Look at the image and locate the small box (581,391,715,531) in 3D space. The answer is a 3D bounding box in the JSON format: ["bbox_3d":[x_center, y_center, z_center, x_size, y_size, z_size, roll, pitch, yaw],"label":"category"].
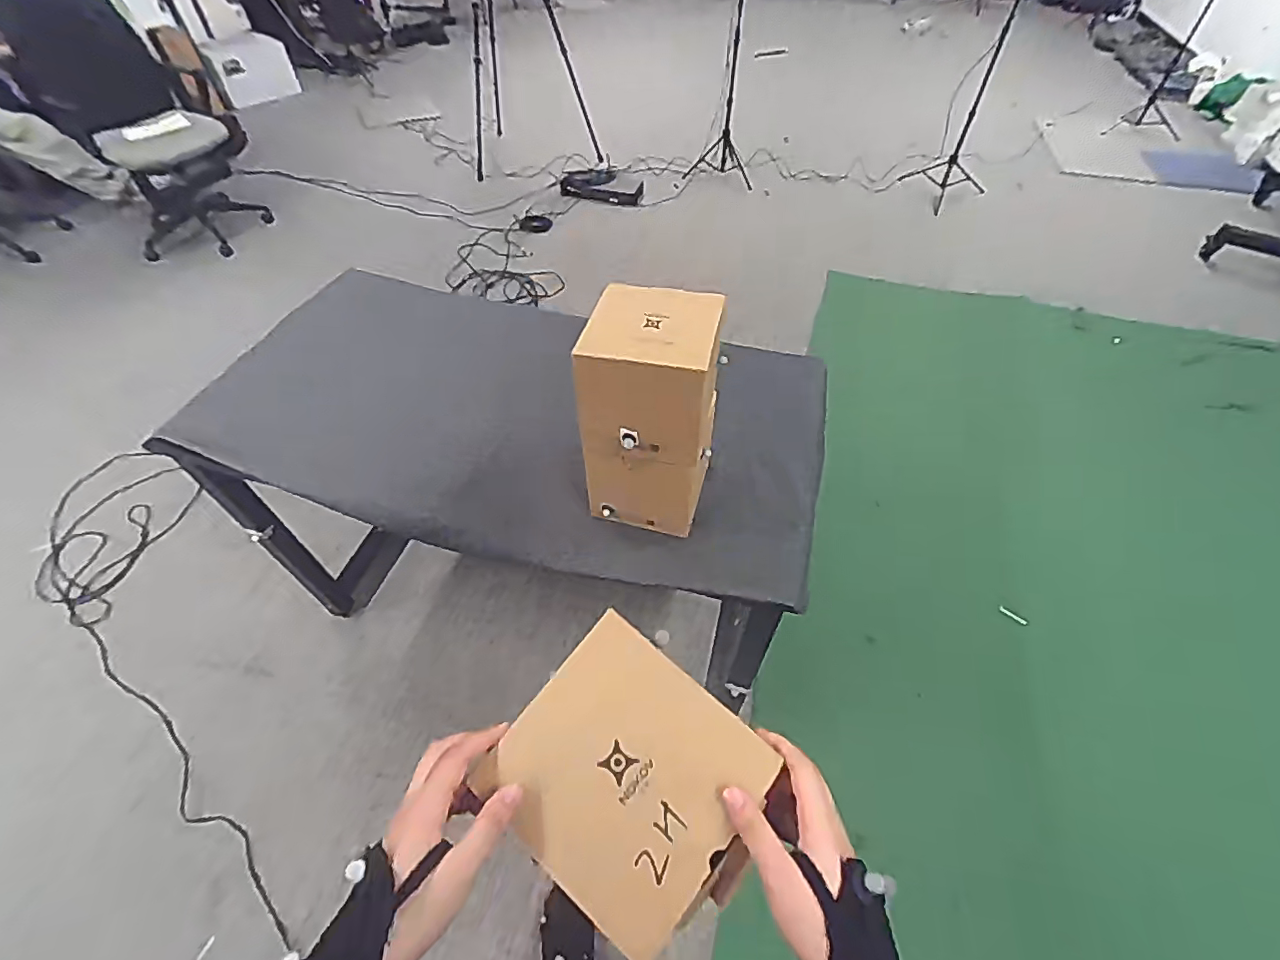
[{"bbox_3d":[0.018,-0.042,0.869,0.168,0.176,0.179,12,49,11],"label":"small box"}]

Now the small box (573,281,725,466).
[{"bbox_3d":[0.017,-0.146,0.743,0.168,0.176,0.179,9,50,9],"label":"small box"}]

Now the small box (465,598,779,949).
[{"bbox_3d":[-0.013,0.231,0.472,0.179,0.176,0.168,39,77,13],"label":"small box"}]
